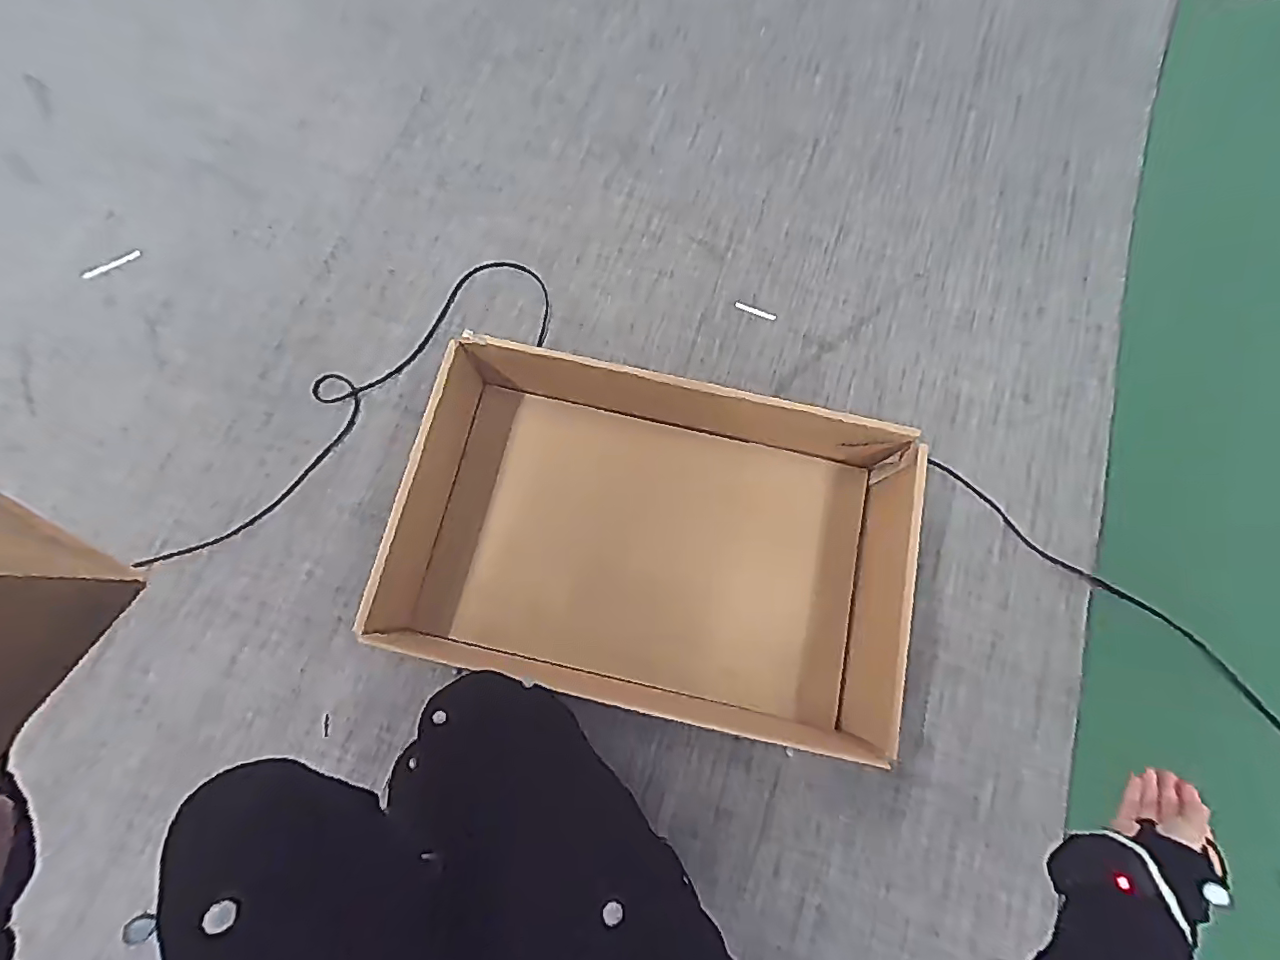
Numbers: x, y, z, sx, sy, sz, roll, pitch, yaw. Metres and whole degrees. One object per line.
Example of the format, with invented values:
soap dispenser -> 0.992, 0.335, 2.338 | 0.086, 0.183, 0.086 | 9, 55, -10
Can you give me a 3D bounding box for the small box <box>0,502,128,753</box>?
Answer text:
small box -> -0.384, 0.077, 0.215 | 0.168, 0.176, 0.179 | 32, 72, -3
